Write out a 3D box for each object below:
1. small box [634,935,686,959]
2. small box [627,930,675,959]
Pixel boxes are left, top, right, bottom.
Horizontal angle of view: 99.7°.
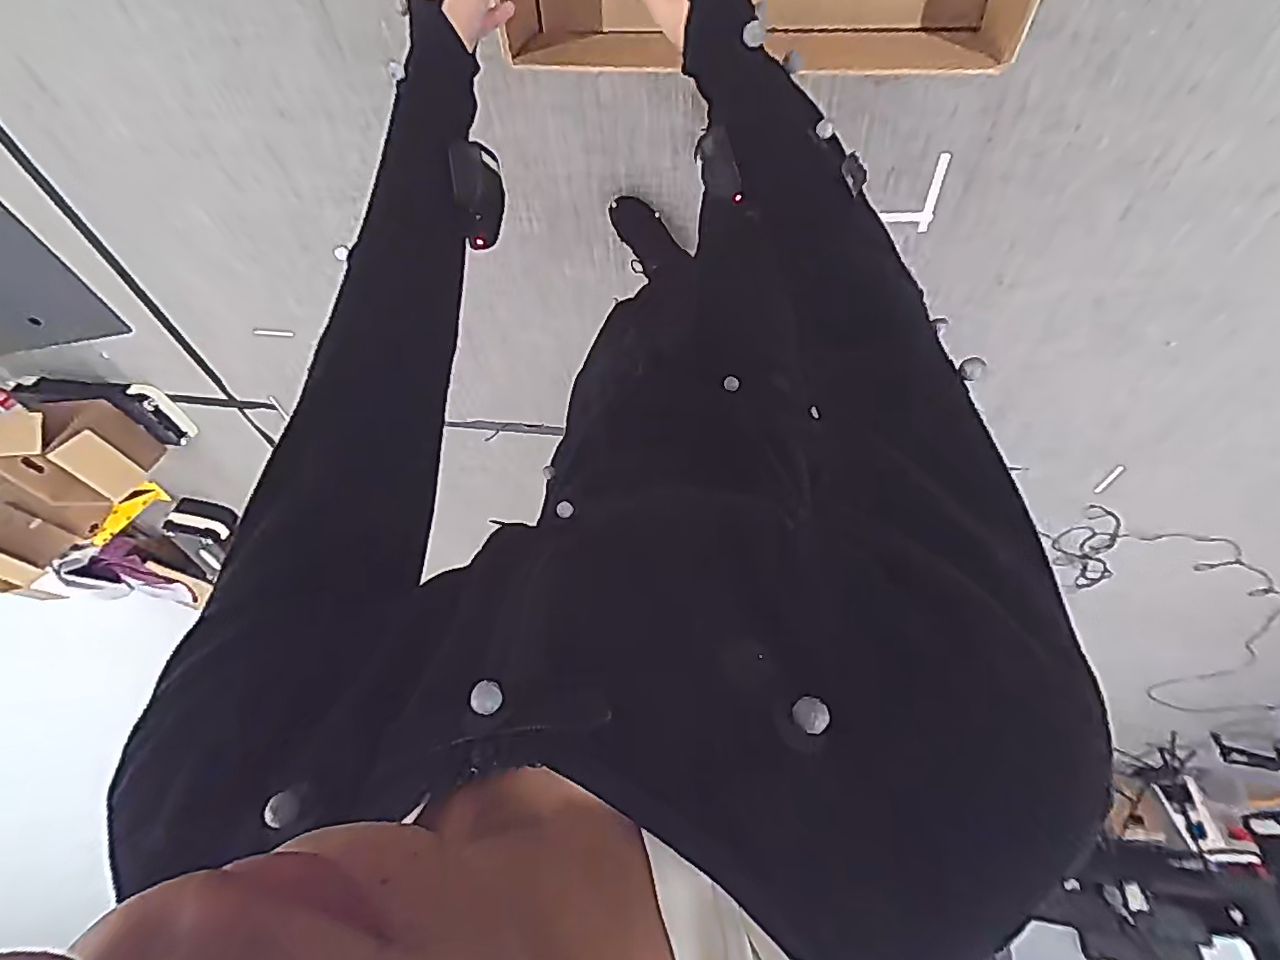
[{"bbox_3d":[0.070,1.746,1.927,0.168,0.176,0.179,0,141,14],"label":"small box"},{"bbox_3d":[0.038,1.875,2.102,0.179,0.176,0.168,6,143,6],"label":"small box"}]
